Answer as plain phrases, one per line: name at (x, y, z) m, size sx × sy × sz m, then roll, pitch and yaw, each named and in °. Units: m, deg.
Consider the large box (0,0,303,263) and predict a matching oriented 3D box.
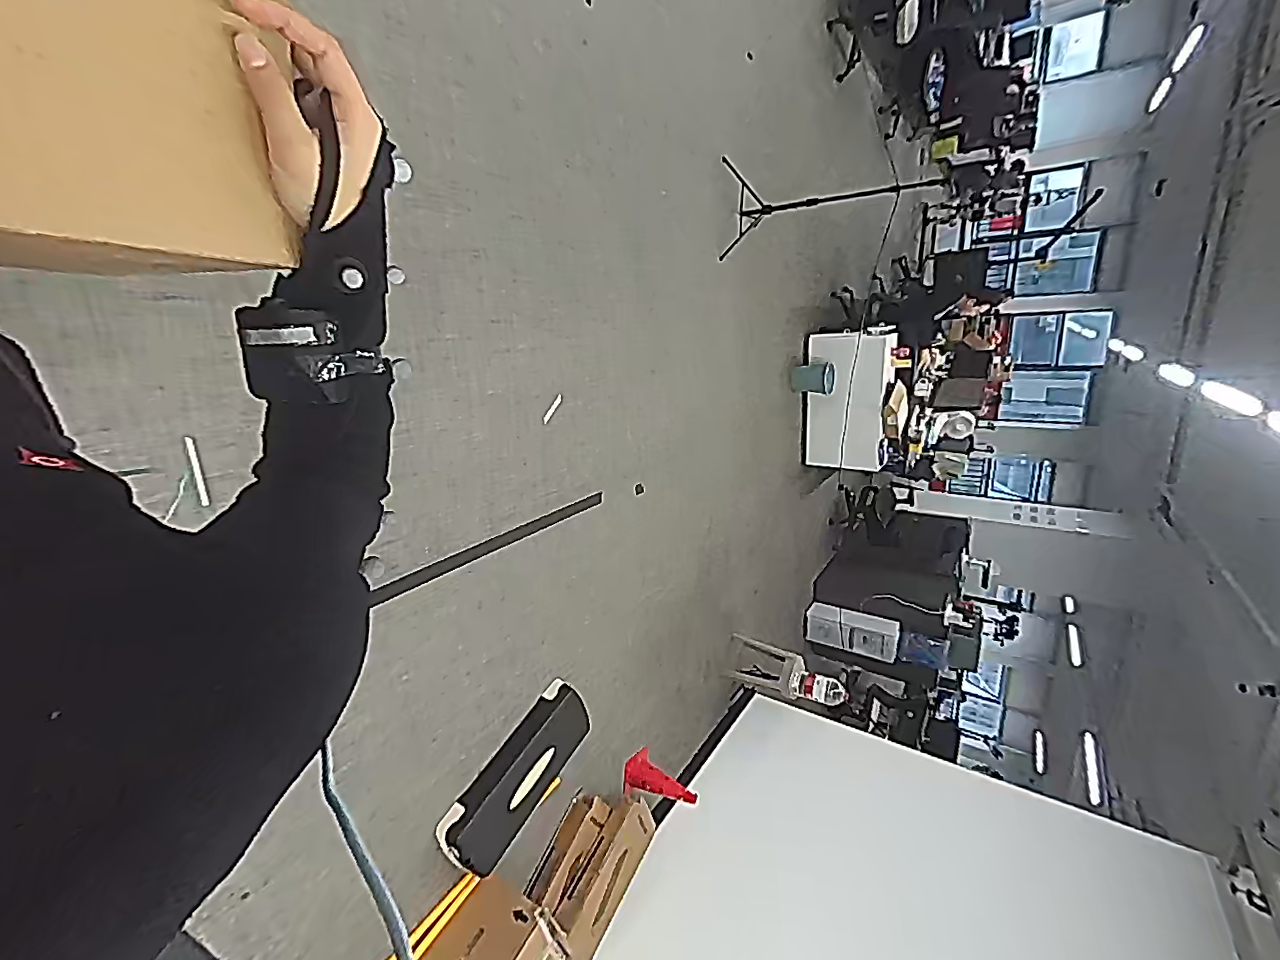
large box at (-0.439, -0.276, 0.214) m, size 0.408 × 0.320 × 0.320 m, roll -22°, pitch 119°, yaw -58°
